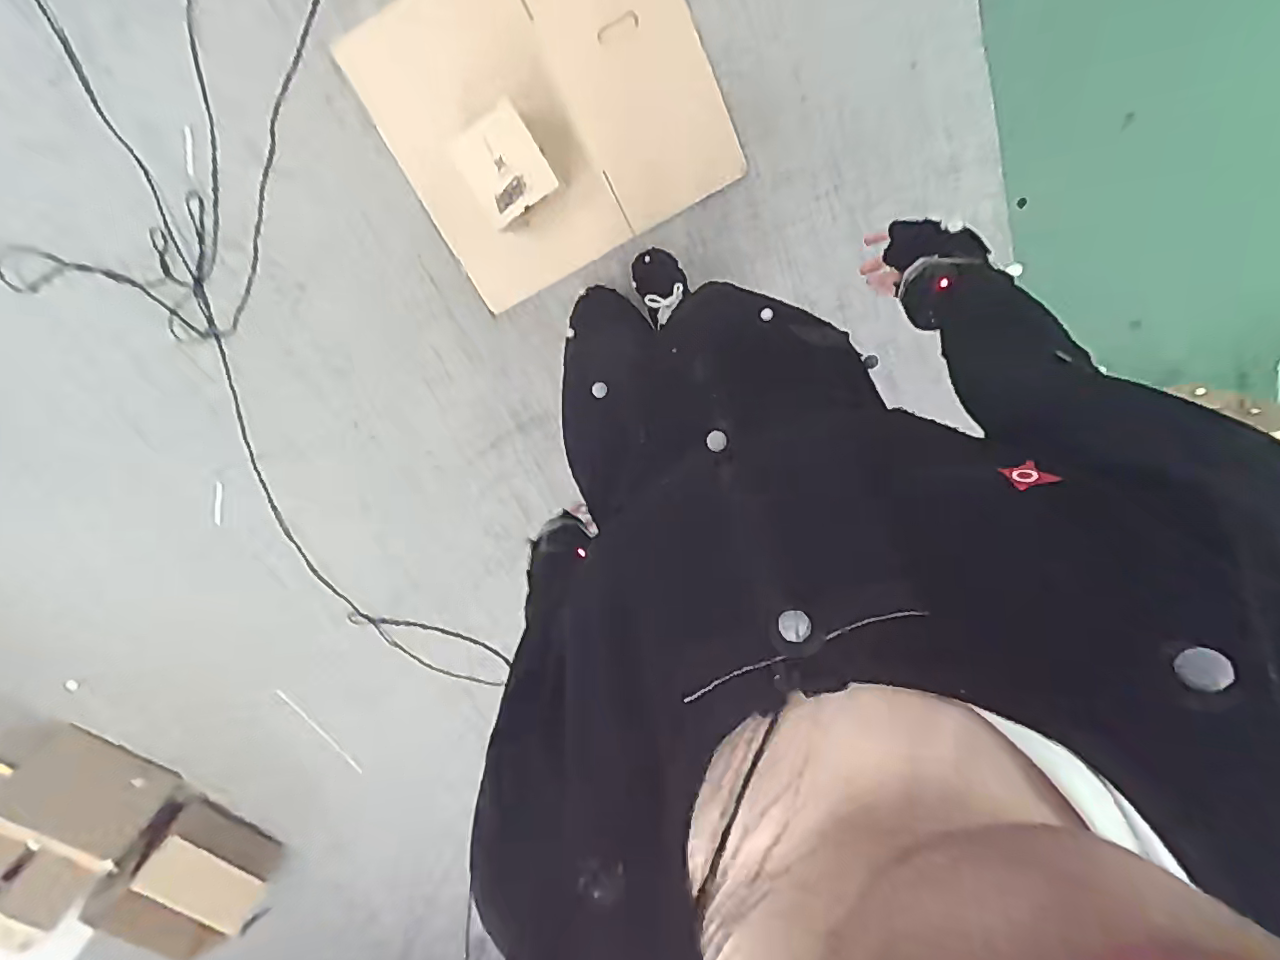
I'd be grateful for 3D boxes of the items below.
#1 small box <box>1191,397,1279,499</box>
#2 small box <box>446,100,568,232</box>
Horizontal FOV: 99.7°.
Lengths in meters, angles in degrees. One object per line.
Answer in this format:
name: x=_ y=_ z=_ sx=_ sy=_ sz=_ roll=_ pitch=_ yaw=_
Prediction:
small box: x=1.481 y=-0.086 z=1.290 sx=0.168 sy=0.176 sz=0.179 roll=-19 pitch=114 yaw=7
small box: x=-0.269 y=-0.653 z=1.144 sx=0.168 sy=0.176 sz=0.179 roll=-30 pitch=111 yaw=12
